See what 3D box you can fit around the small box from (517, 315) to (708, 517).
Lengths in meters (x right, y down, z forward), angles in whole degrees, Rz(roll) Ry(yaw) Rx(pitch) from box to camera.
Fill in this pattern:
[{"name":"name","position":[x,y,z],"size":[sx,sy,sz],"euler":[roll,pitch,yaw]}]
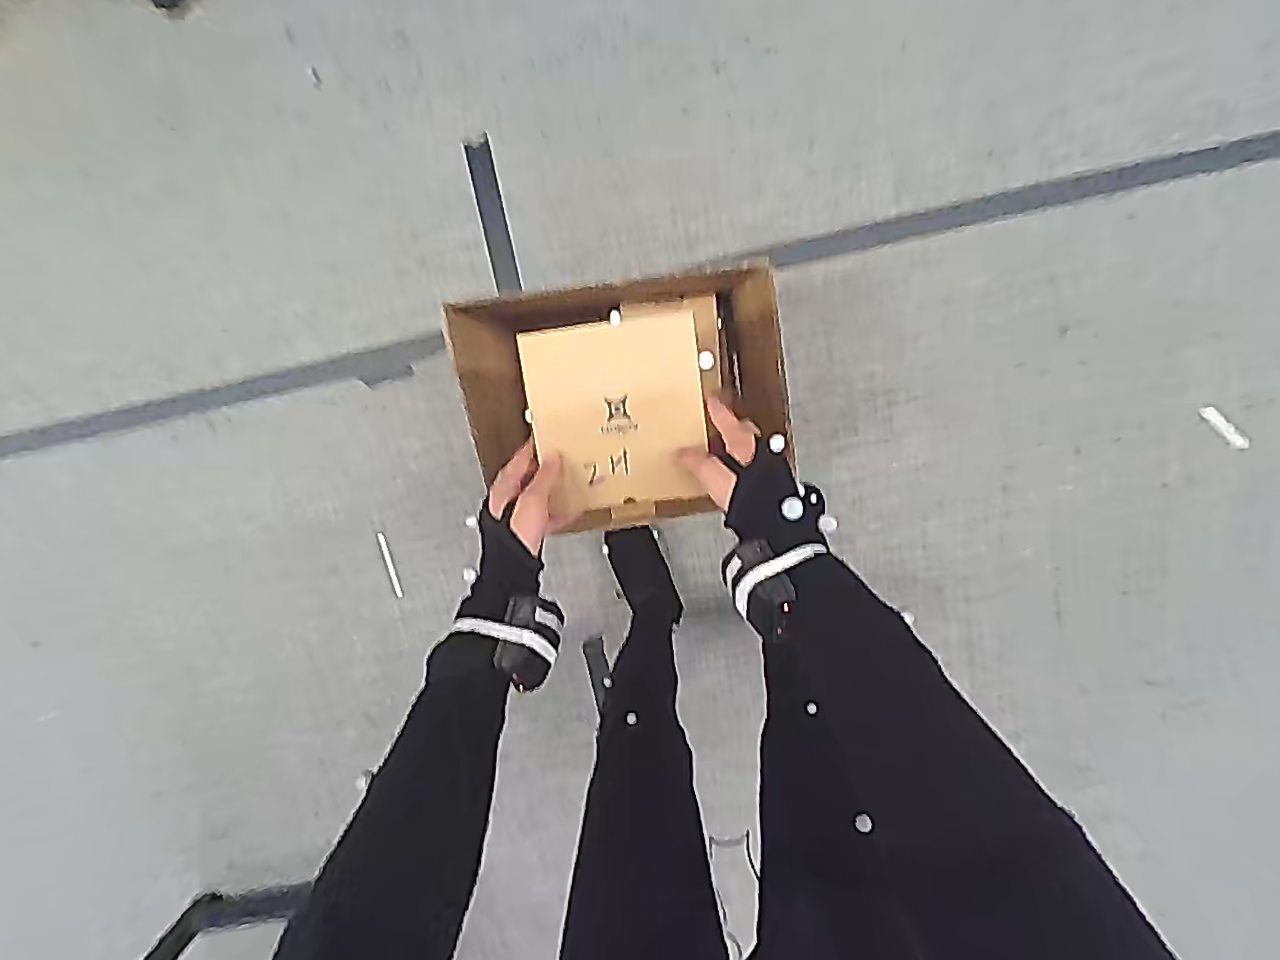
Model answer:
[{"name":"small box","position":[-0.022,-0.072,0.586],"size":[0.168,0.176,0.179],"euler":[-7,102,4]}]
